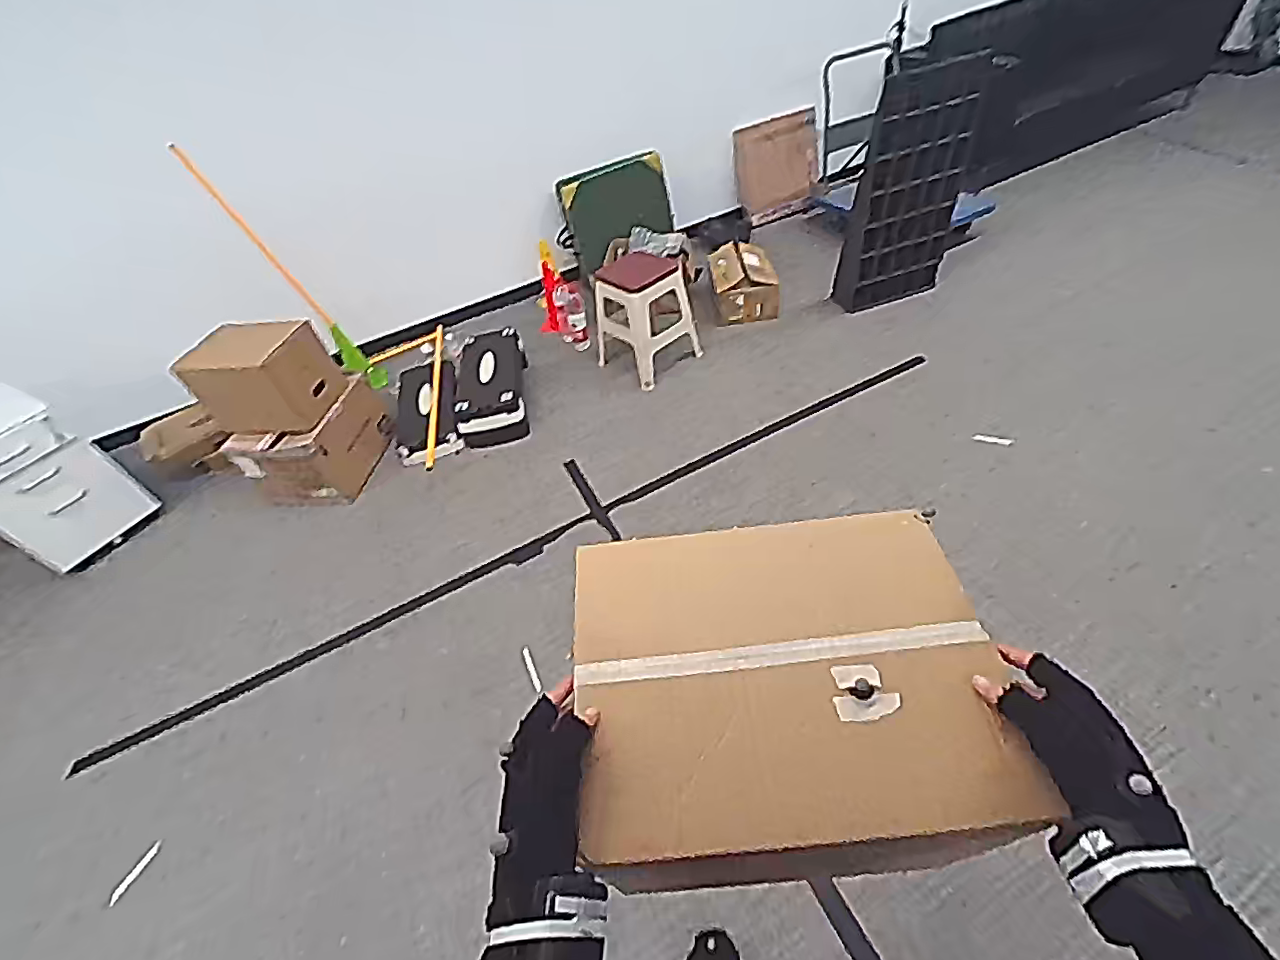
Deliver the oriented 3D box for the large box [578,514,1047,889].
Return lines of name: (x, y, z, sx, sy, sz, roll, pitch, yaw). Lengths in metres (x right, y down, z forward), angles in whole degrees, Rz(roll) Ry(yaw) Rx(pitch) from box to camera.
large box: (0.147, 0.275, 0.660, 0.408, 0.320, 0.320, -6, 48, 2)
